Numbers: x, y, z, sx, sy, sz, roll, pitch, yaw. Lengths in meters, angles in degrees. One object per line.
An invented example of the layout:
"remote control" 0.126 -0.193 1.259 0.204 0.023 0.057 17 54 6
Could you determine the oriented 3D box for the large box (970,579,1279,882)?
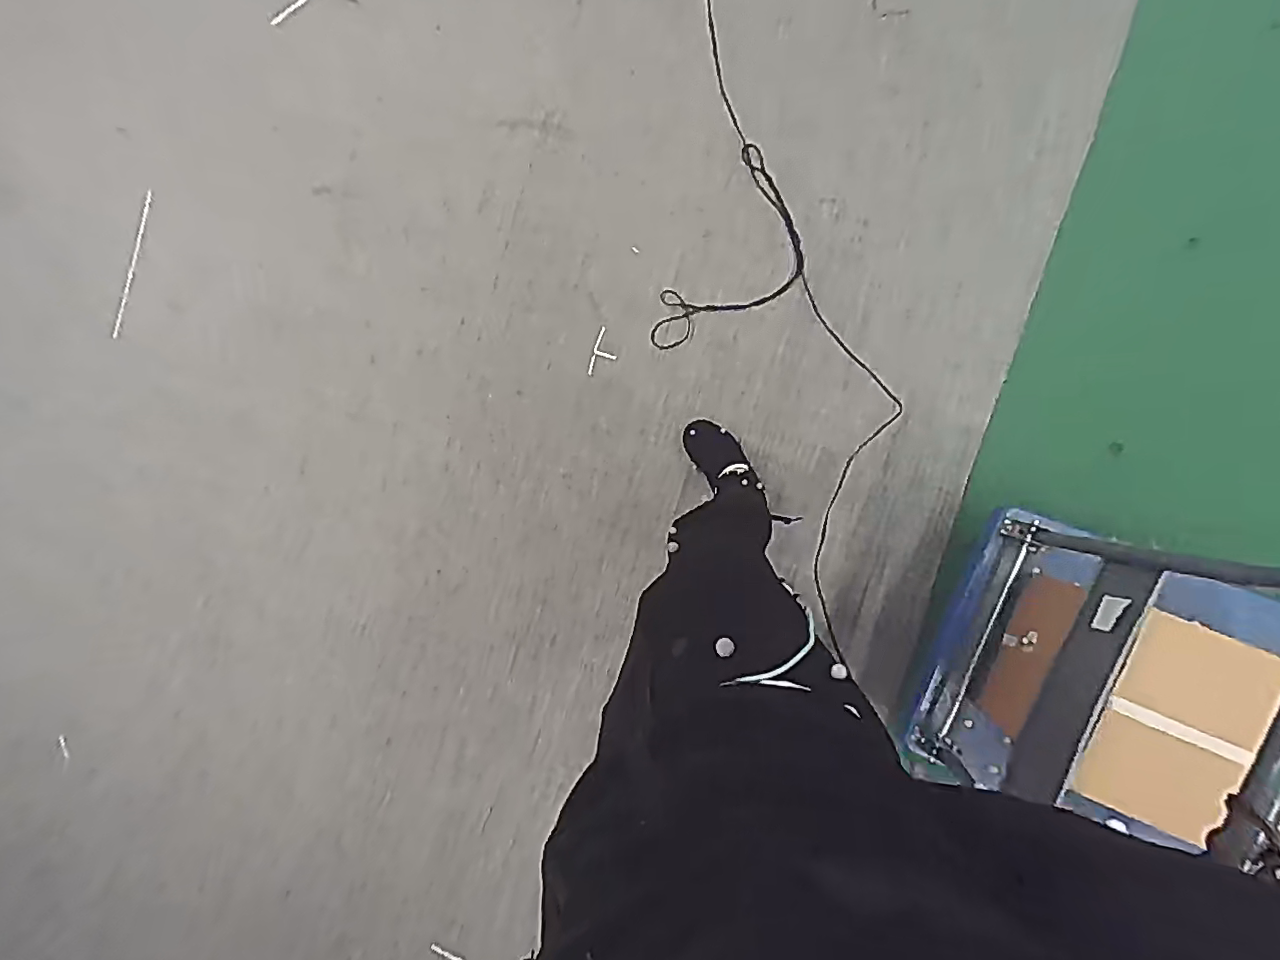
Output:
"large box" 0.908 0.412 0.967 0.408 0.320 0.320 23 94 7
